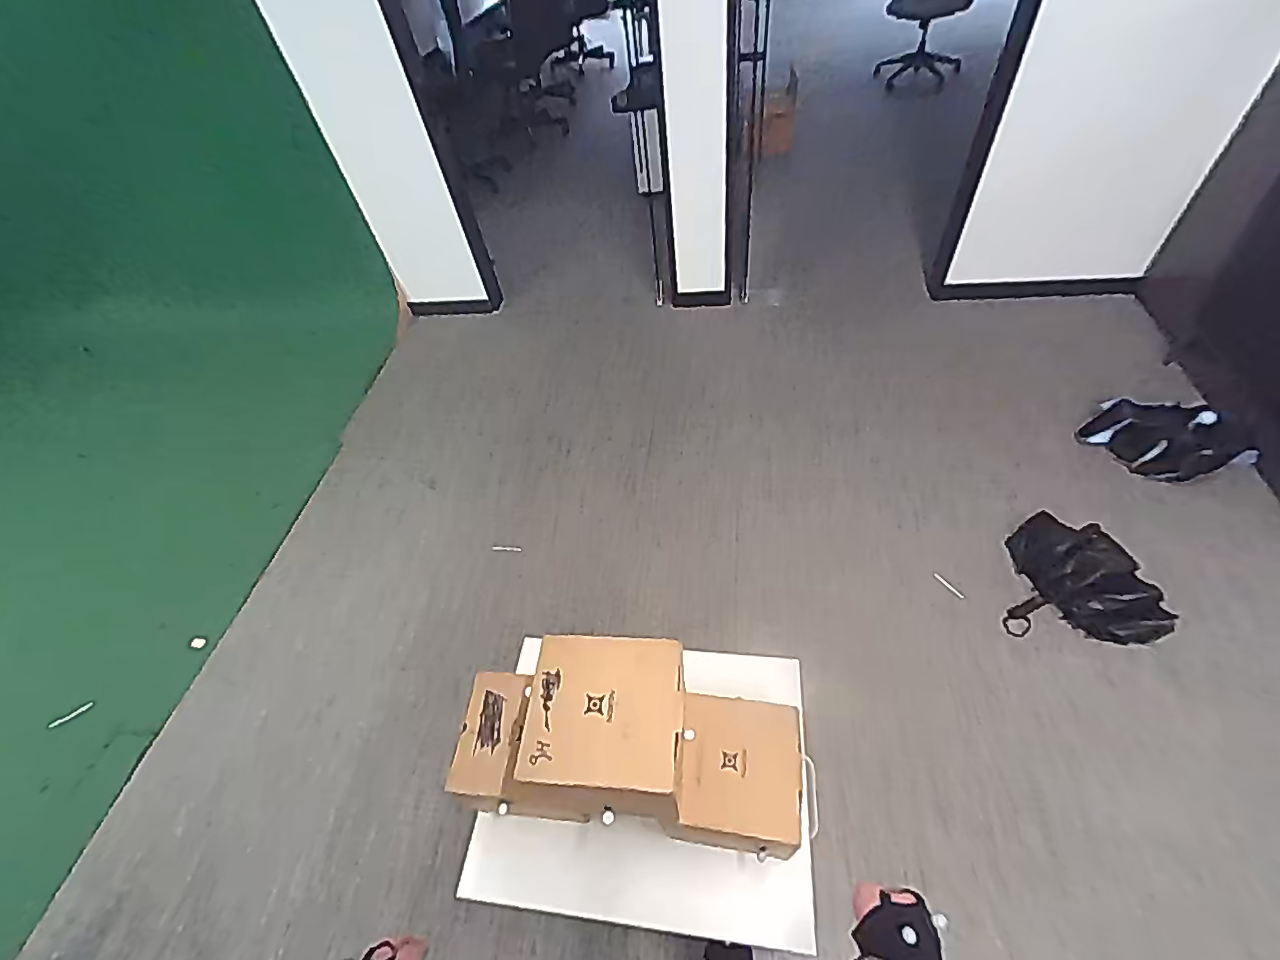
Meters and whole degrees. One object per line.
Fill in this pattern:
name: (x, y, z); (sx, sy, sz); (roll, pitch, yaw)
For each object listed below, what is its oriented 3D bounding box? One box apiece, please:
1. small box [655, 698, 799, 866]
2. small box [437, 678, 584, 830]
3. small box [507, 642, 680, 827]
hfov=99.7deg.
small box: (0.126, 0.429, 0.764); (0.179, 0.176, 0.168); (3, 50, 12)
small box: (-0.169, 0.414, 0.814); (0.179, 0.176, 0.168); (2, 51, 7)
small box: (-0.041, 0.316, 0.667); (0.179, 0.176, 0.168); (1, 50, 7)
